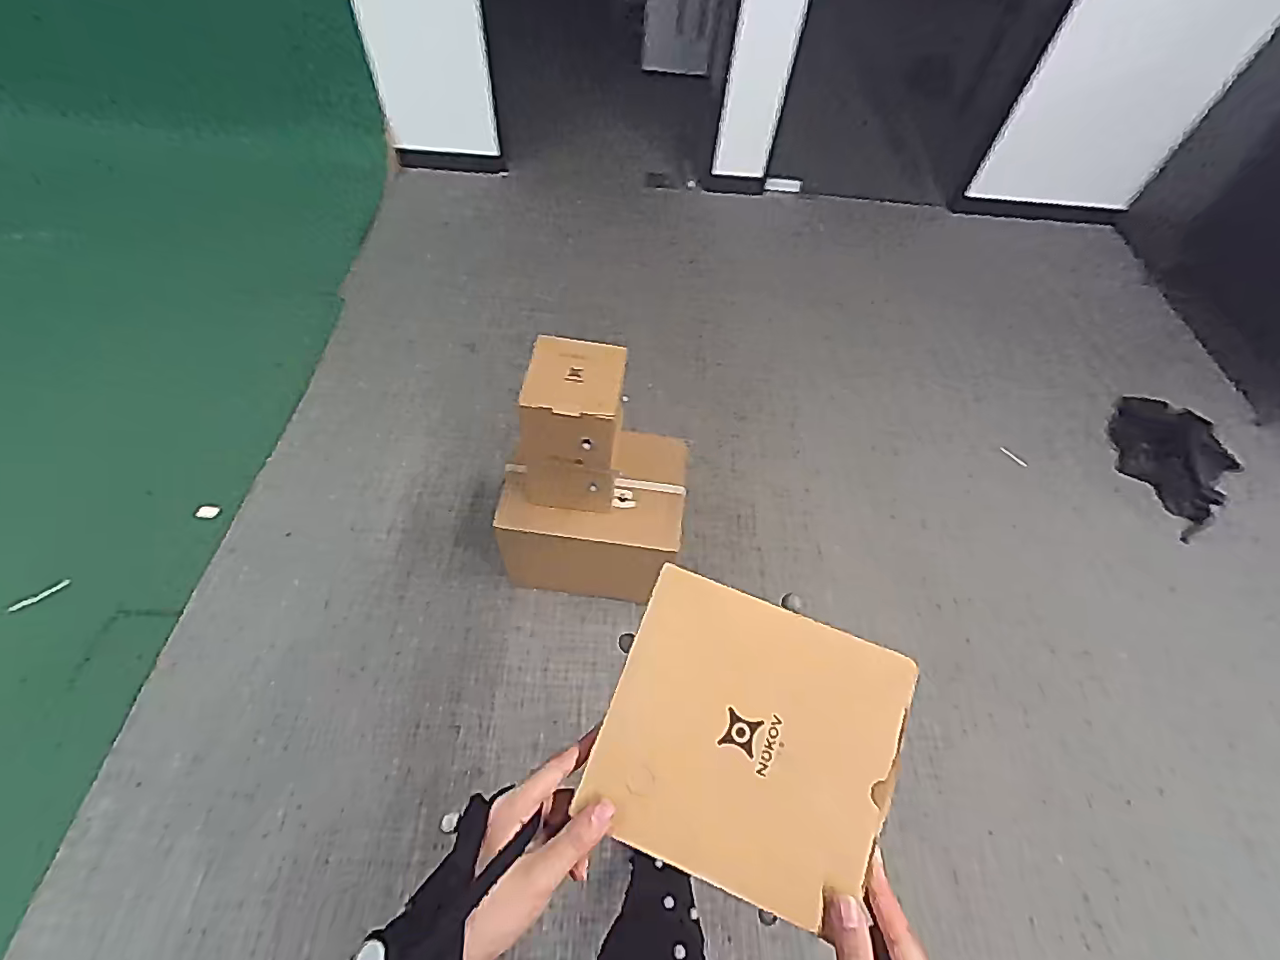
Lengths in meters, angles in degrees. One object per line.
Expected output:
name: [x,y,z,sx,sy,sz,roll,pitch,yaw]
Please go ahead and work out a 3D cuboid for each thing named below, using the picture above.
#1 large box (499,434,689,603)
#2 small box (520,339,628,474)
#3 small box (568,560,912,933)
large box: [-0.106,0.093,1.352,0.408,0.320,0.320,8,56,-1]
small box: [-0.118,-0.132,1.009,0.168,0.176,0.179,8,54,-2]
small box: [0.068,0.178,0.411,0.179,0.176,0.168,20,75,8]
